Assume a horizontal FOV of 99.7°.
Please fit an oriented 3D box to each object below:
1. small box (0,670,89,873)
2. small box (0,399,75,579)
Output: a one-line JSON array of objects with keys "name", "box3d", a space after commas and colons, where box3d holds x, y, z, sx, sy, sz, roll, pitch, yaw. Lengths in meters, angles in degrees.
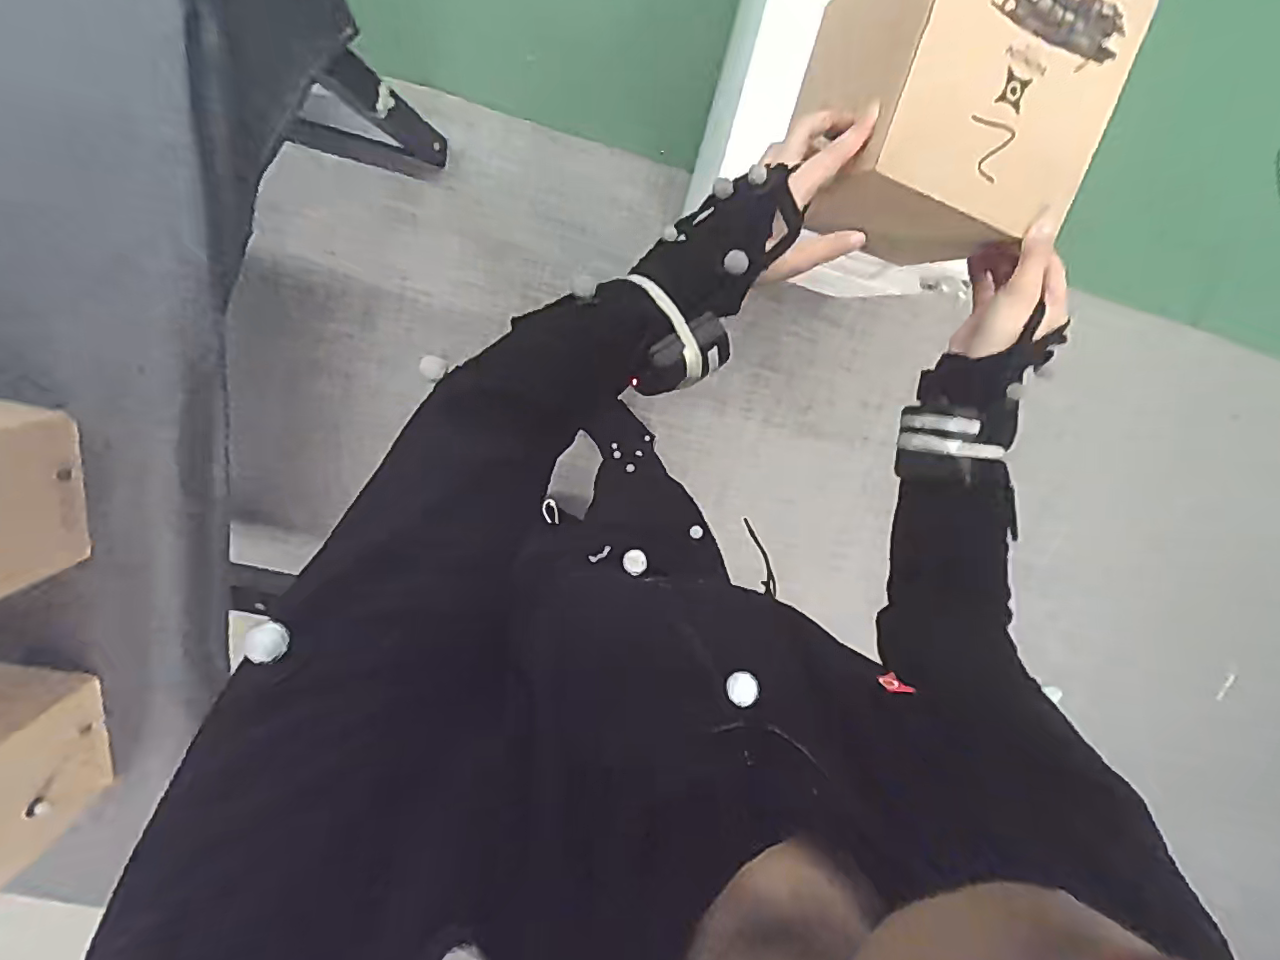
[{"name": "small box", "box3d": [-0.742, 0.318, 0.572, 0.179, 0.176, 0.168, 10, 105, -5]}, {"name": "small box", "box3d": [-0.675, 0.012, 0.478, 0.179, 0.176, 0.168, 11, 107, -5]}]
